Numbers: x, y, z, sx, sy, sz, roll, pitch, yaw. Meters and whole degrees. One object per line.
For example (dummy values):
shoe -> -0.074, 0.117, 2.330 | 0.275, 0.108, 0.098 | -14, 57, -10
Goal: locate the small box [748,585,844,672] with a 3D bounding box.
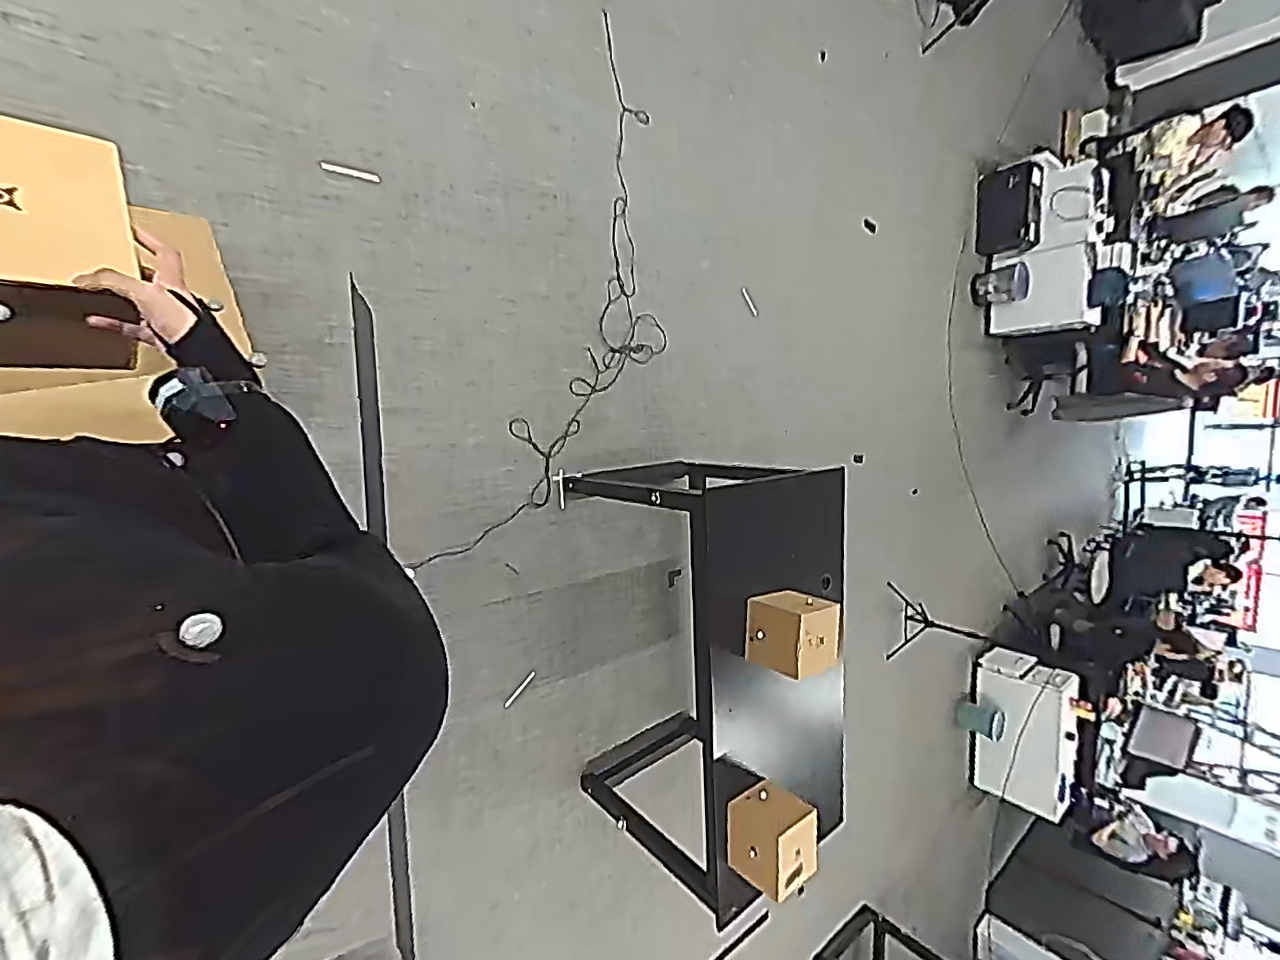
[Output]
small box -> 0.409, 0.381, 1.422 | 0.179, 0.176, 0.168 | 0, 94, -38

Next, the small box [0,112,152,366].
small box -> -0.594, -0.218, 0.510 | 0.179, 0.176, 0.168 | -10, 80, -45

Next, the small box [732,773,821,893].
small box -> 0.357, 0.922, 1.430 | 0.168, 0.176, 0.179 | -5, 96, -38
